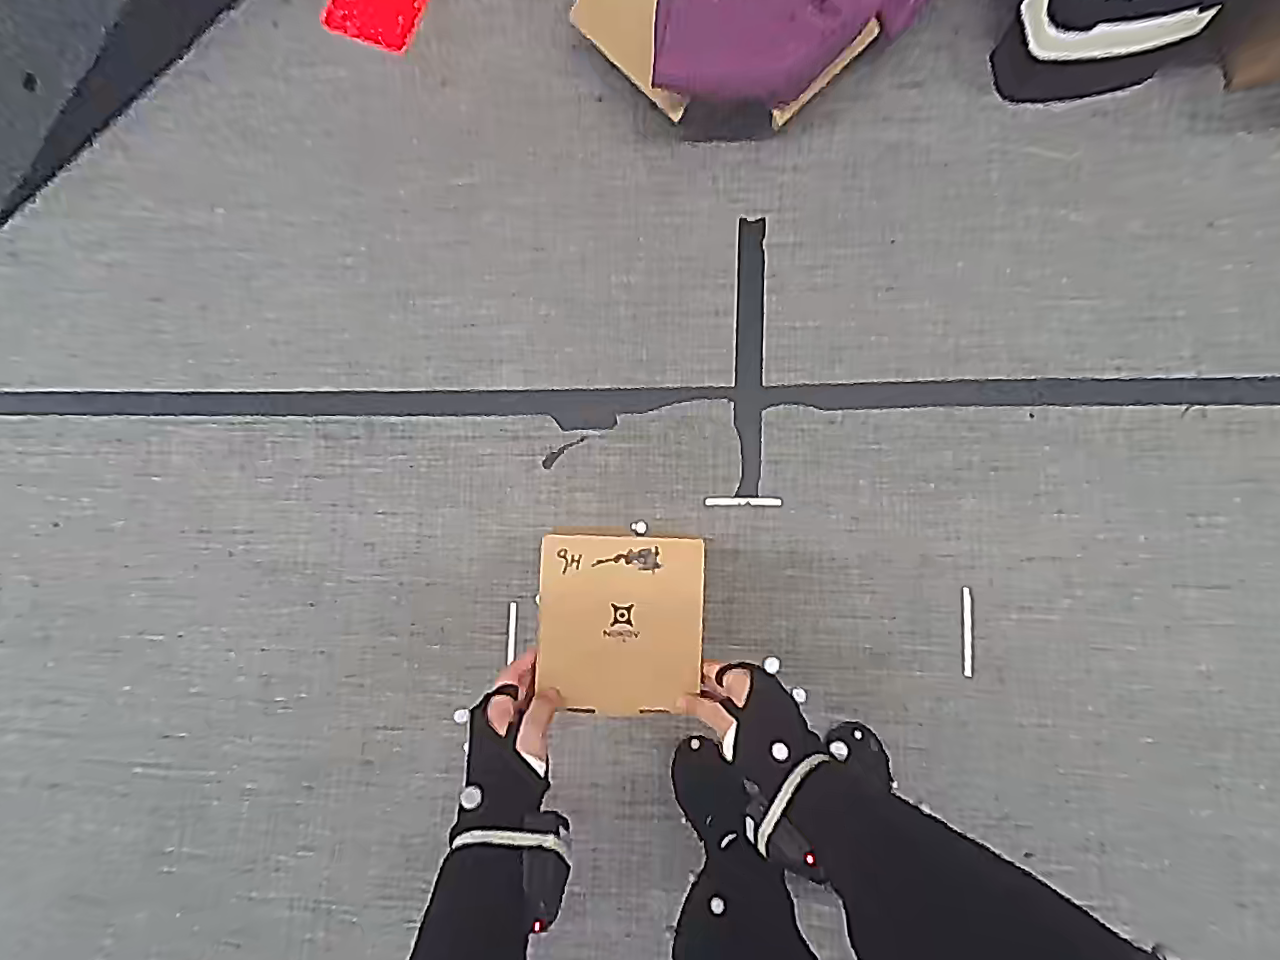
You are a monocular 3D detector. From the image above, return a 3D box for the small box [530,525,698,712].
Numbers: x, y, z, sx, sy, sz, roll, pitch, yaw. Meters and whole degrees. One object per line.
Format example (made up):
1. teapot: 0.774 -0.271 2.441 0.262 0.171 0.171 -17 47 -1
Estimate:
1. small box: -0.028 0.147 0.628 0.168 0.176 0.179 3 88 -3
